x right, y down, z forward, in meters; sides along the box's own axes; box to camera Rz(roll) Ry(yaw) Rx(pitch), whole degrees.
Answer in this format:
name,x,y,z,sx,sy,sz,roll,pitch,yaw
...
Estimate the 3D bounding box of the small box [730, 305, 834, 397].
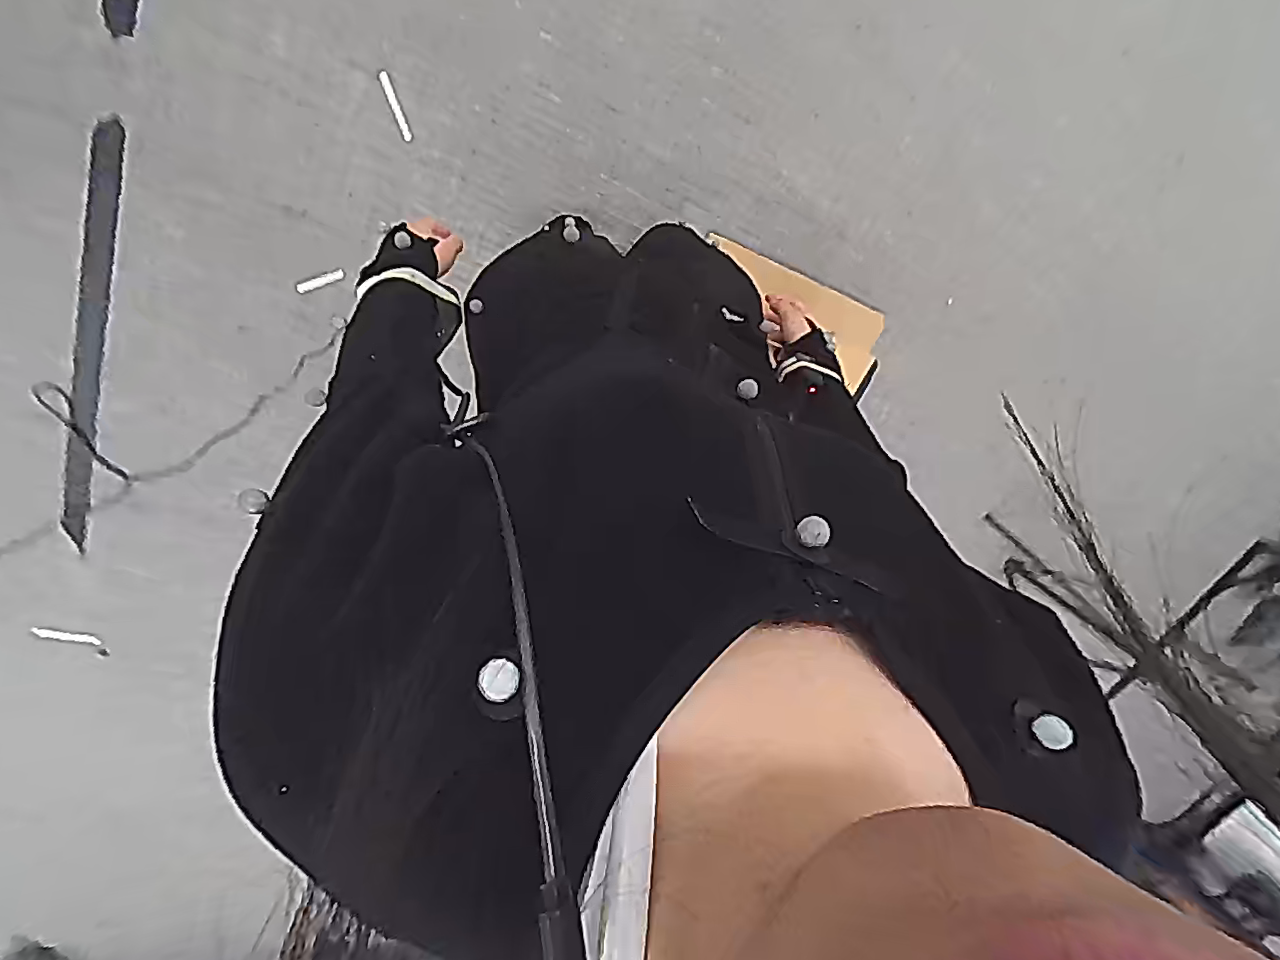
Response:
name,x,y,z,sx,sy,sz,roll,pitch,yaw
small box,0.368,-0.348,1.438,0.179,0.176,0.168,20,112,-24
